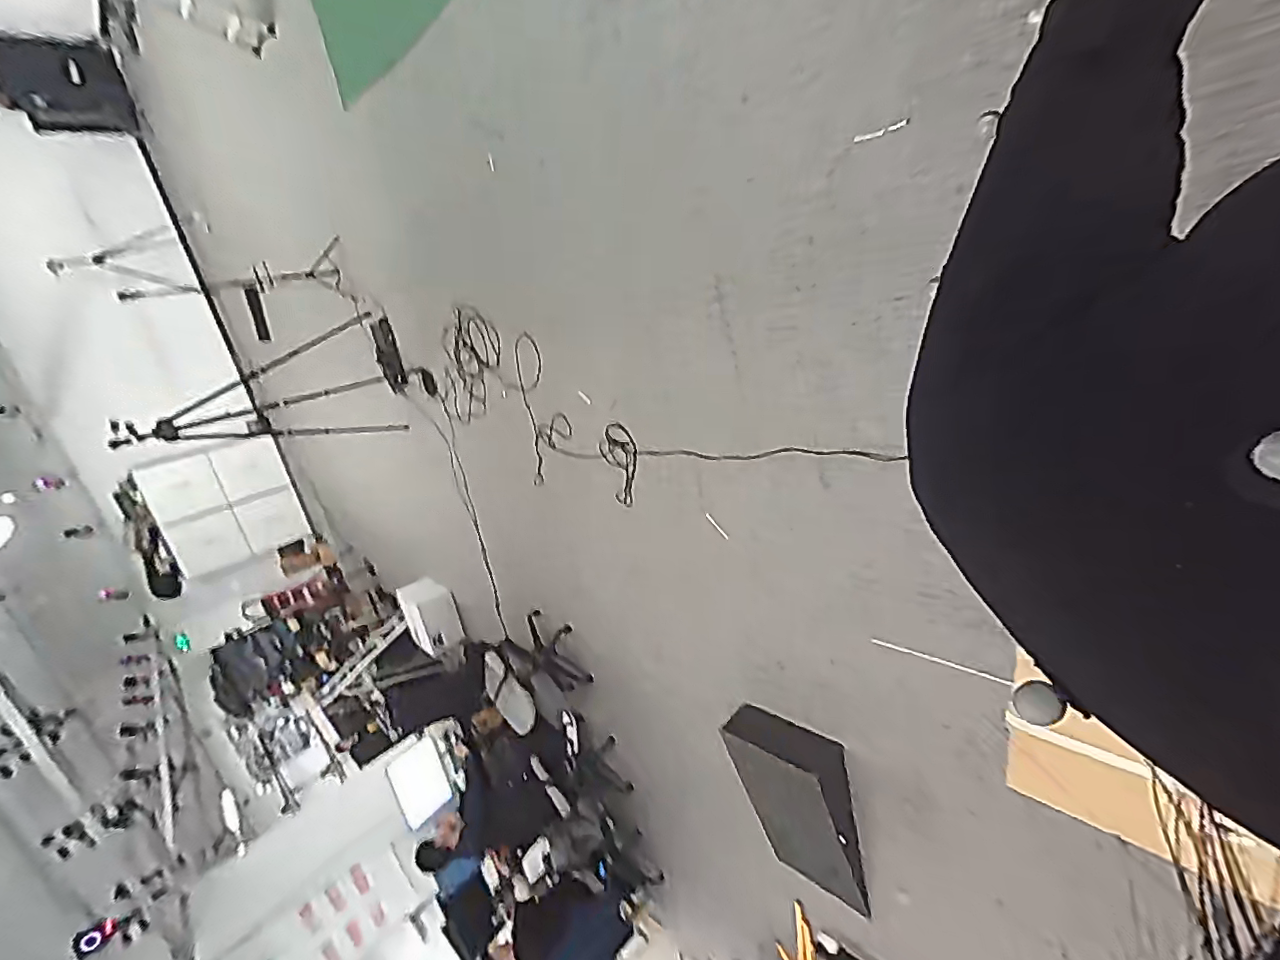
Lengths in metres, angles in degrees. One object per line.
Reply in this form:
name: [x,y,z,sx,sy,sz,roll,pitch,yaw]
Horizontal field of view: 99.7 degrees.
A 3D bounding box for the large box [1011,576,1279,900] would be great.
large box: [0.902,0.394,0.908,0.408,0.320,0.320,10,114,45]
